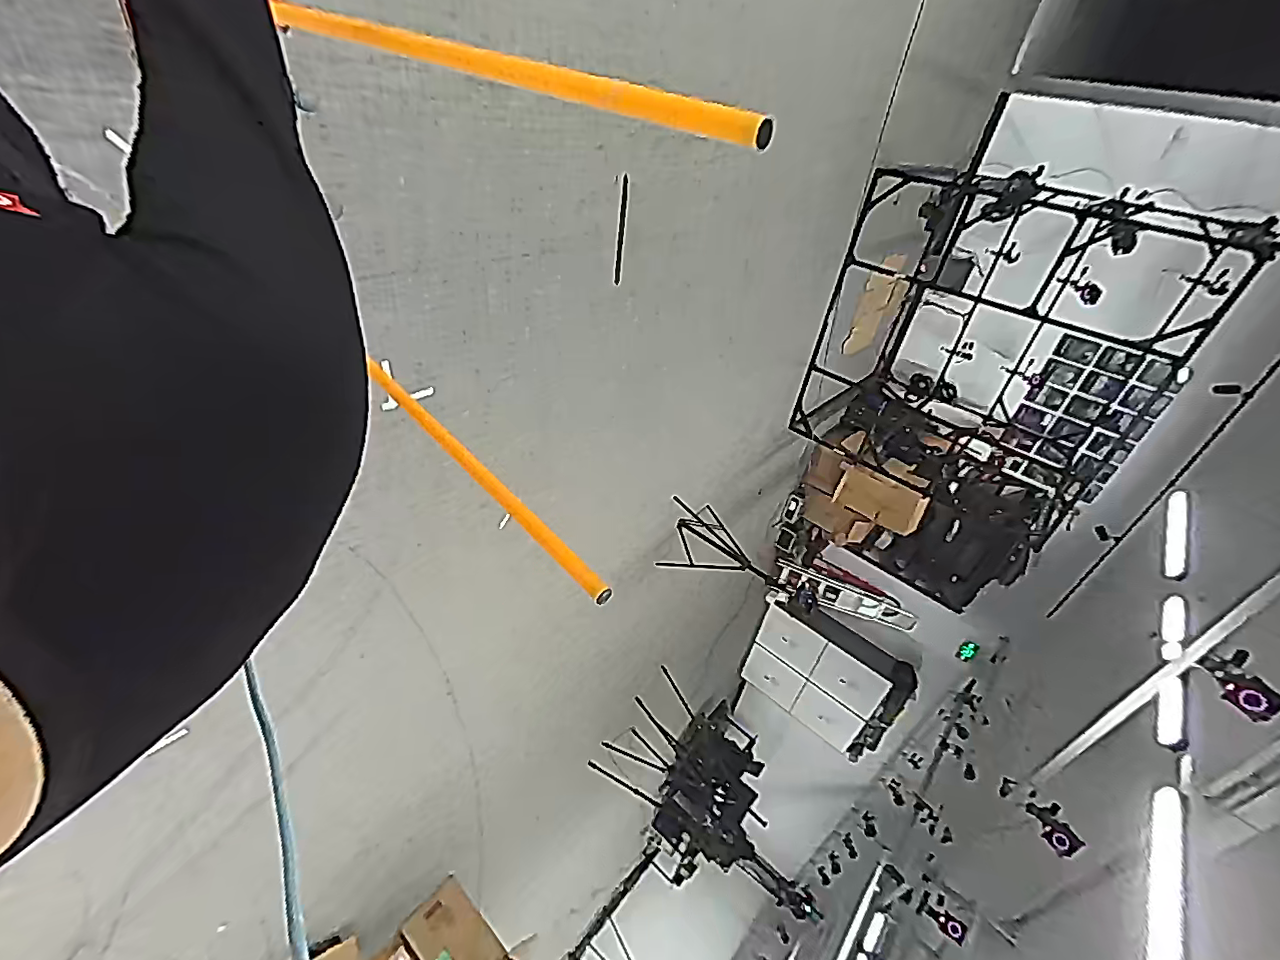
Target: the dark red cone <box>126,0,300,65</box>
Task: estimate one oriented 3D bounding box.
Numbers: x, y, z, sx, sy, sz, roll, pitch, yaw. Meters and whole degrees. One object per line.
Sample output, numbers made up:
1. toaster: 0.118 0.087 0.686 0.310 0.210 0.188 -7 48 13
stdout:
1. dark red cone: -0.664 -0.787 0.873 0.201 0.394 0.202 -32 143 -42
